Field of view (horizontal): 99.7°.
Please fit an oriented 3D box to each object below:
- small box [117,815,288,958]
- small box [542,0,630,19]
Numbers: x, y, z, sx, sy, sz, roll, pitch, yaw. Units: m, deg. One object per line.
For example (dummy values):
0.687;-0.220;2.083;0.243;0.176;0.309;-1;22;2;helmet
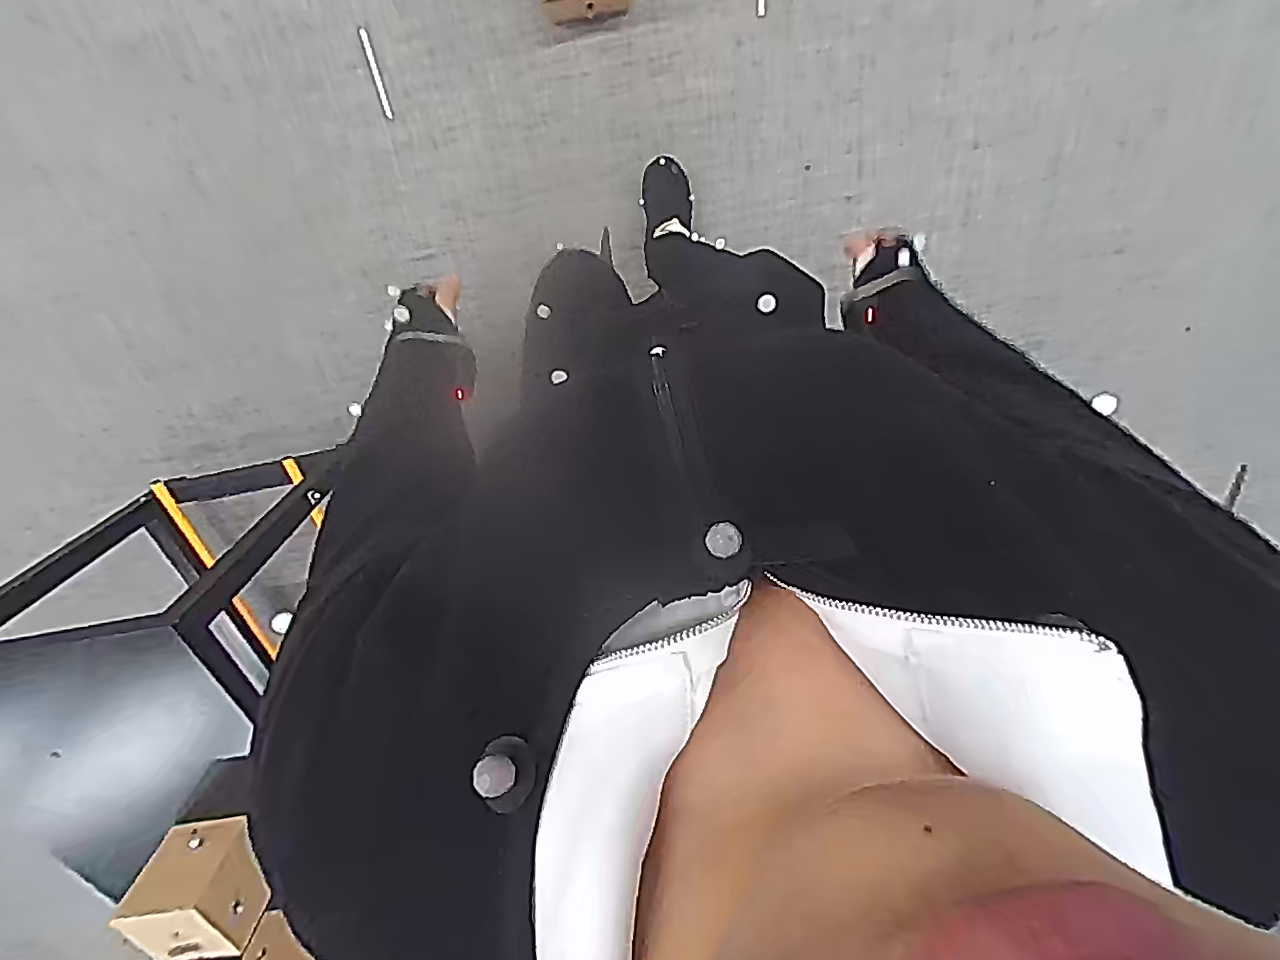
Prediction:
-0.853;0.807;1.080;0.168;0.176;0.179;-9;118;3;small box
-0.106;-0.964;0.974;0.168;0.176;0.179;-8;120;2;small box
